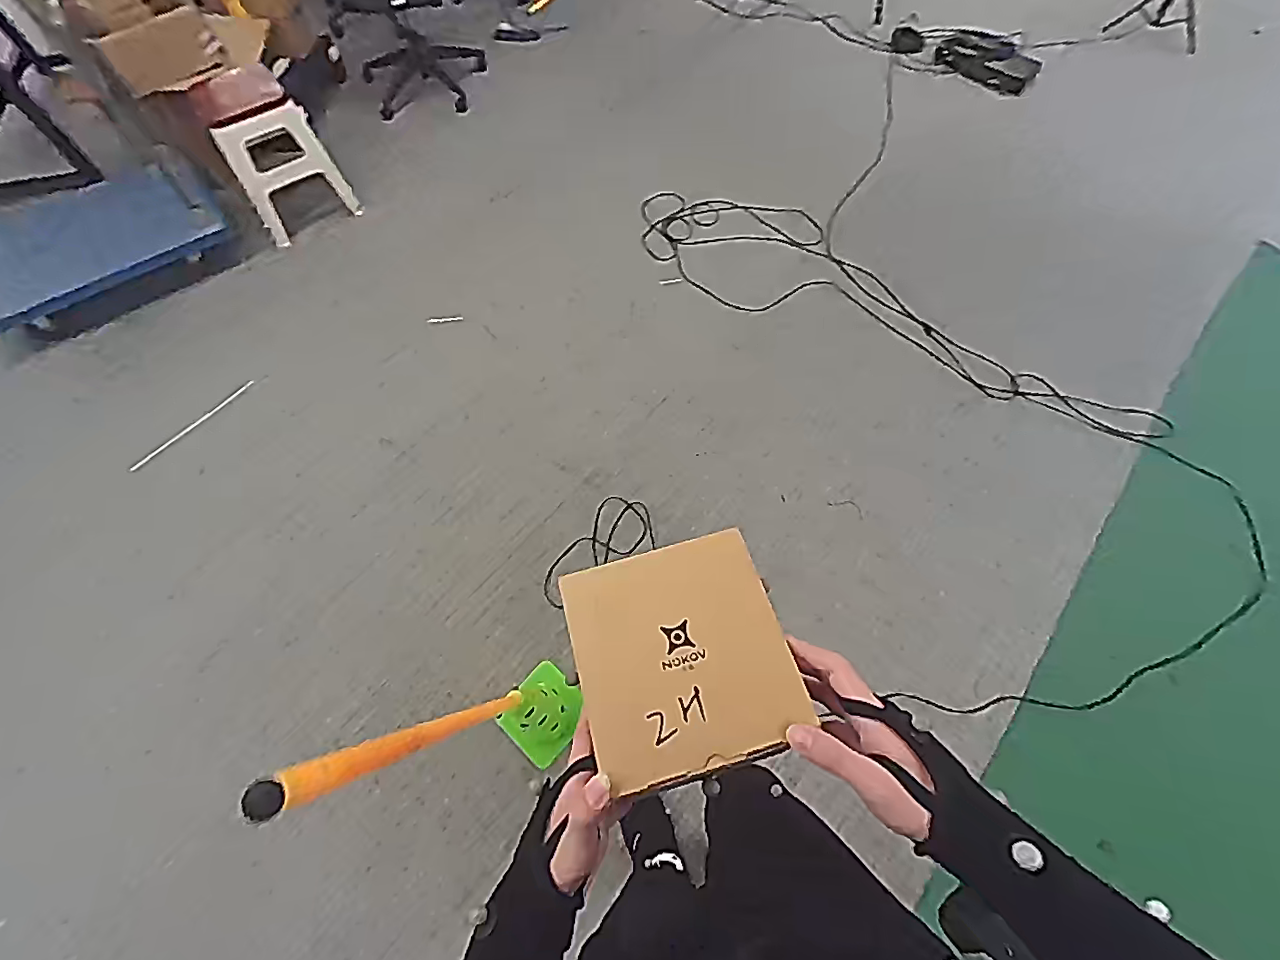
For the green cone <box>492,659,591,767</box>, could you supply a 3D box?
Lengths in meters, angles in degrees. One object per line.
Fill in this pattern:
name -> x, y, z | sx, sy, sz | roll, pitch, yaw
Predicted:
green cone -> -0.255, 0.521, 1.250 | 0.200, 0.368, 0.202 | 38, 69, 18
